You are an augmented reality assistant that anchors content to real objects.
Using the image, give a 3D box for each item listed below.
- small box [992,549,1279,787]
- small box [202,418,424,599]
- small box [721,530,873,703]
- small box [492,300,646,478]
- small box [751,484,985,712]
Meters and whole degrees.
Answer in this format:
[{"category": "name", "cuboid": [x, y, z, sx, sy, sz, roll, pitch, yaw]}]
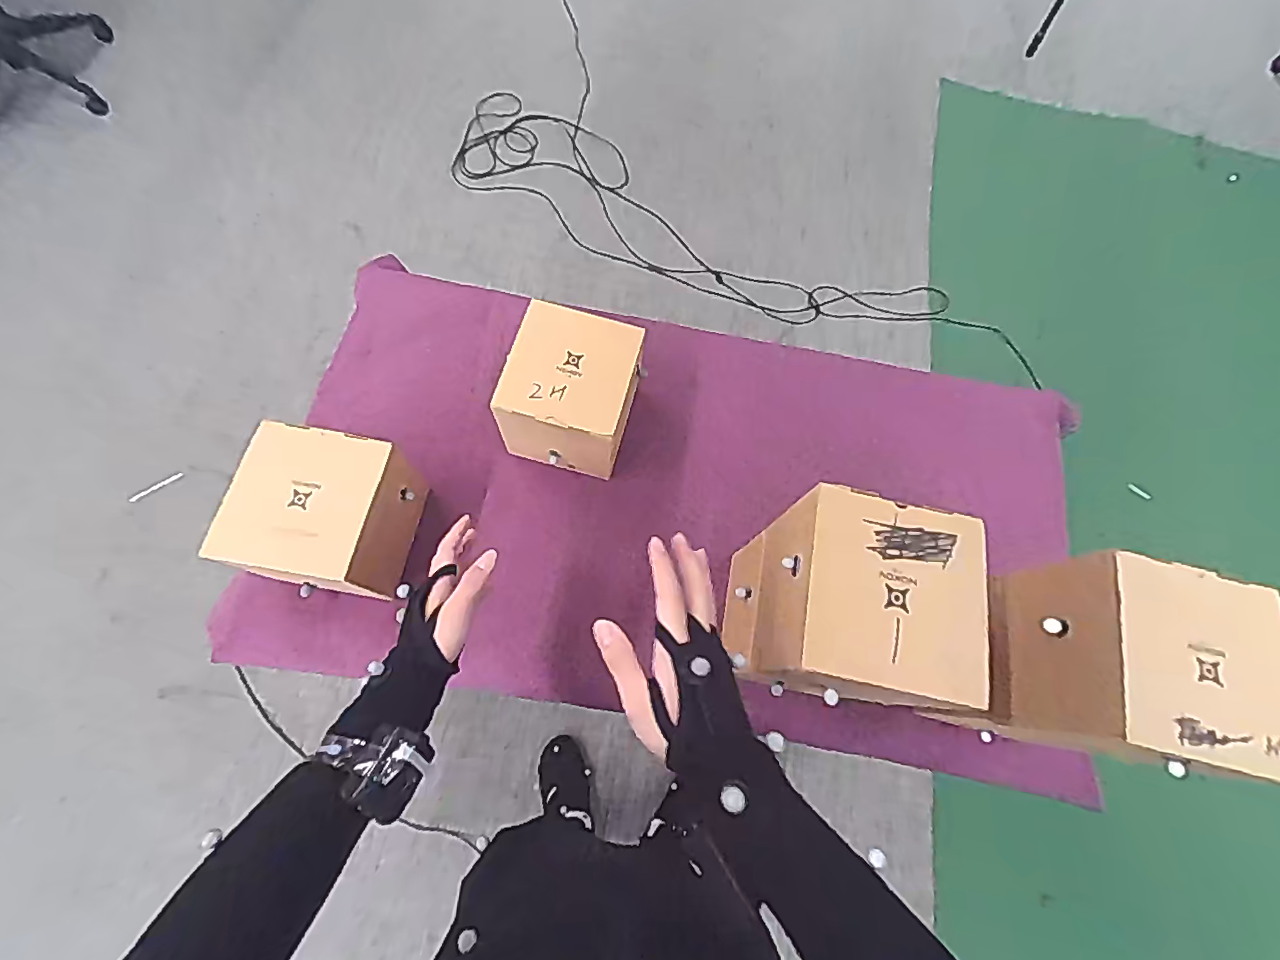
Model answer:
[{"category": "small box", "cuboid": [0.498, 0.192, 0.560, 0.168, 0.176, 0.179, 14, 69, 2]}, {"category": "small box", "cuboid": [-0.403, 0.046, 0.709, 0.168, 0.176, 0.179, 11, 70, -1]}, {"category": "small box", "cuboid": [0.209, 0.186, 0.714, 0.168, 0.176, 0.179, 12, 68, 0]}, {"category": "small box", "cuboid": [-0.099, -0.125, 0.795, 0.168, 0.176, 0.179, 16, 71, 1]}, {"category": "small box", "cuboid": [0.223, 0.128, 0.563, 0.168, 0.176, 0.179, 13, 70, 0]}]
